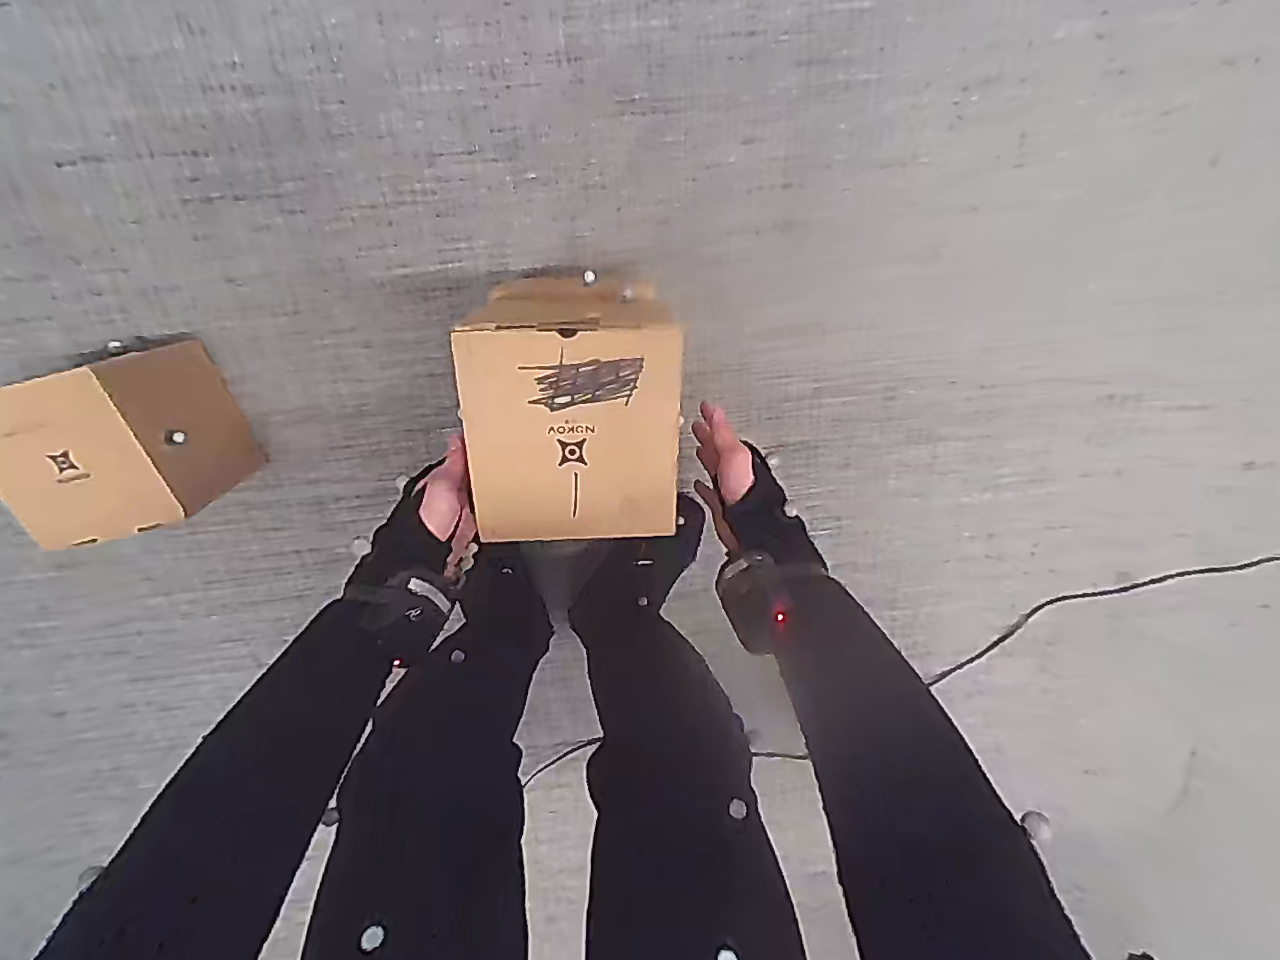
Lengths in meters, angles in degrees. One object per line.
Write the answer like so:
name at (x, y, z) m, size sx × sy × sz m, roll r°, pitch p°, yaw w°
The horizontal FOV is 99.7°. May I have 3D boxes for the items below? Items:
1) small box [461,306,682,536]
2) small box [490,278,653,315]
small box at (-0.057, -0.065, 0.501) m, size 0.168 × 0.176 × 0.179 m, roll -2°, pitch 114°, yaw -3°
small box at (-0.073, -0.142, 0.649) m, size 0.168 × 0.176 × 0.179 m, roll -3°, pitch 114°, yaw -4°
